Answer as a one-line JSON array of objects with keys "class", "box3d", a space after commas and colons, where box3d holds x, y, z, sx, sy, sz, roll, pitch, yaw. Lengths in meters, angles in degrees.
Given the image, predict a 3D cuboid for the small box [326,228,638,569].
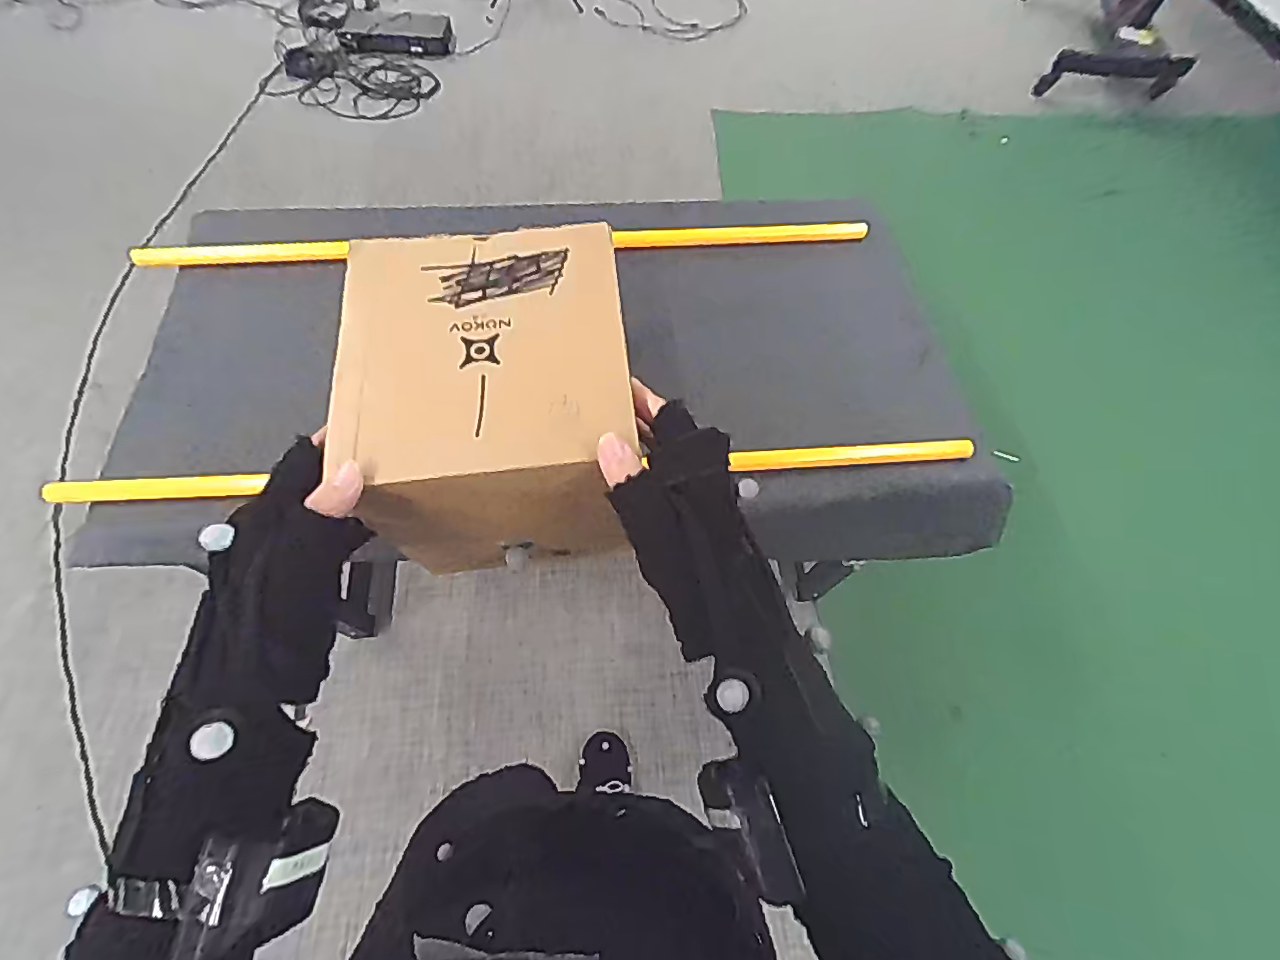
[{"class": "small box", "box3d": [-0.093, -0.049, 0.393, 0.168, 0.176, 0.179, -7, 65, -3]}]
